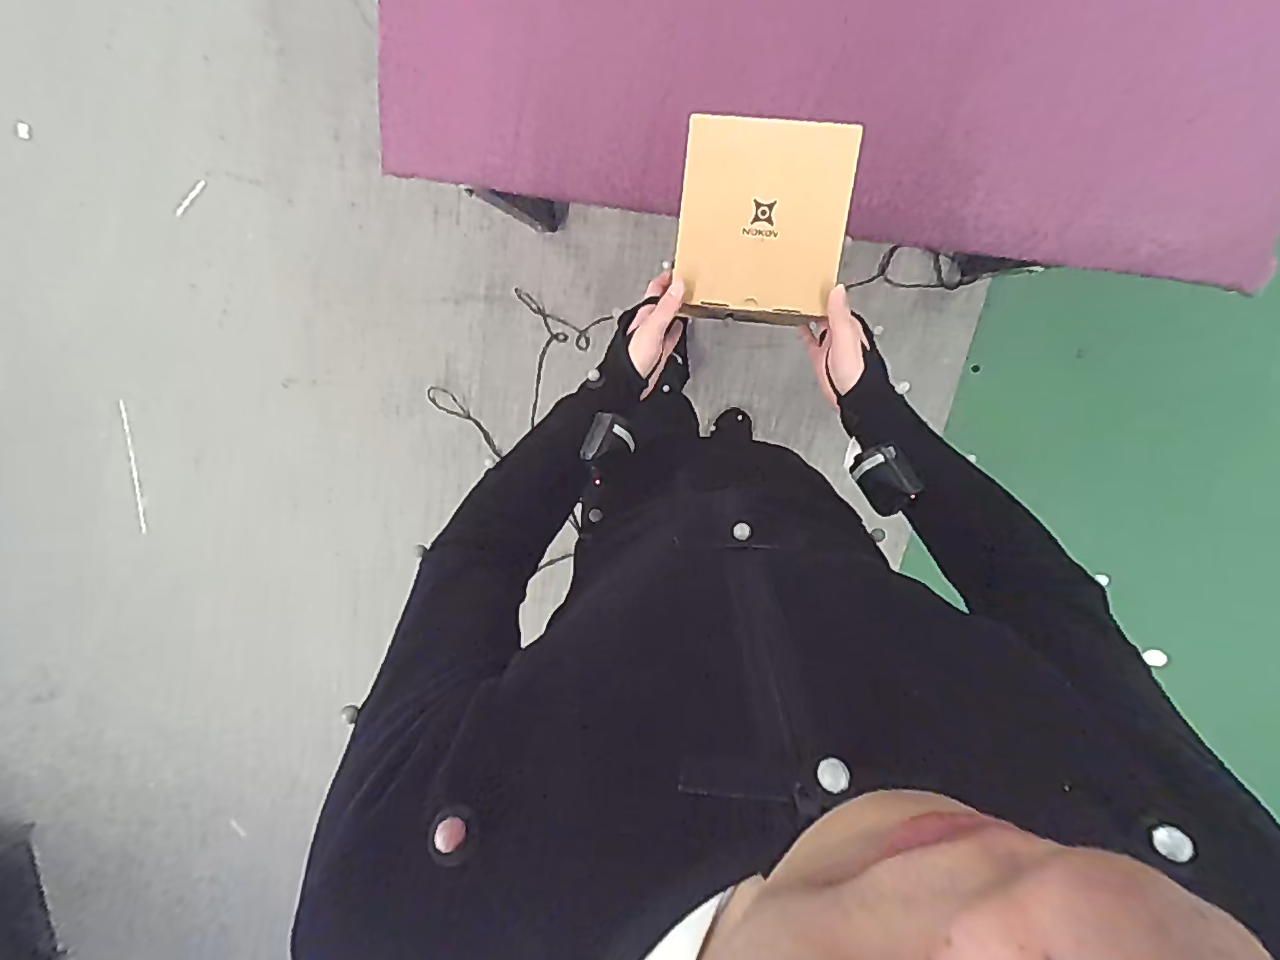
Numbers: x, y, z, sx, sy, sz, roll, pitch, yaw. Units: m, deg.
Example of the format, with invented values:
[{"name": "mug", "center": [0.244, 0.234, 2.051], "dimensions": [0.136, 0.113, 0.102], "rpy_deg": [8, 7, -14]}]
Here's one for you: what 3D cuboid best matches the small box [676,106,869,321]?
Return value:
[{"name": "small box", "center": [0.131, -0.278, 0.604], "dimensions": [0.168, 0.176, 0.179], "rpy_deg": [6, 105, 3]}]
